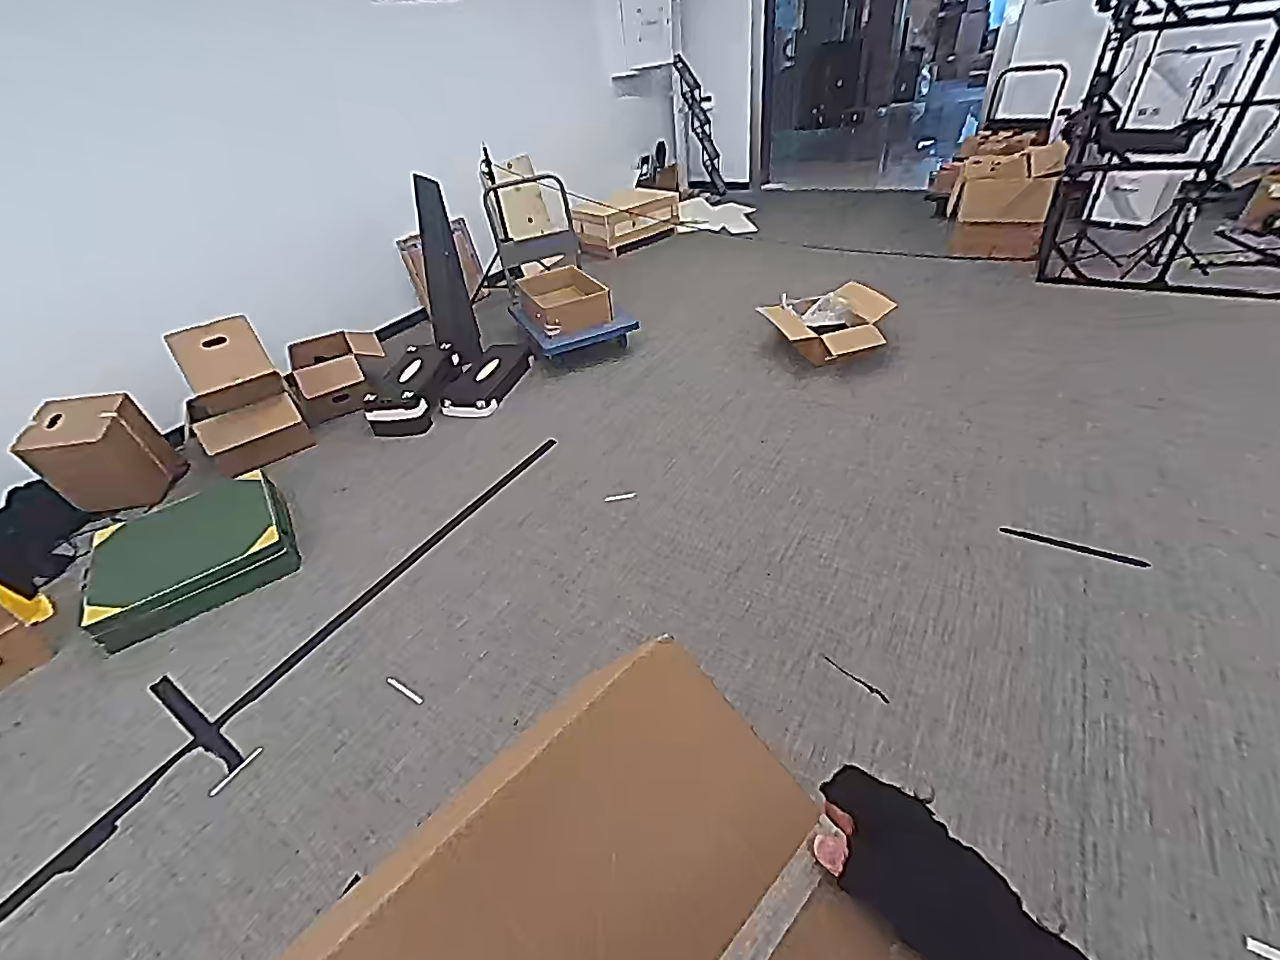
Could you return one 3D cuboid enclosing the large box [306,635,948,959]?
[{"bbox_3d":[-0.060,0.388,0.387,0.408,0.320,0.320,-38,80,-27],"label":"large box"}]
